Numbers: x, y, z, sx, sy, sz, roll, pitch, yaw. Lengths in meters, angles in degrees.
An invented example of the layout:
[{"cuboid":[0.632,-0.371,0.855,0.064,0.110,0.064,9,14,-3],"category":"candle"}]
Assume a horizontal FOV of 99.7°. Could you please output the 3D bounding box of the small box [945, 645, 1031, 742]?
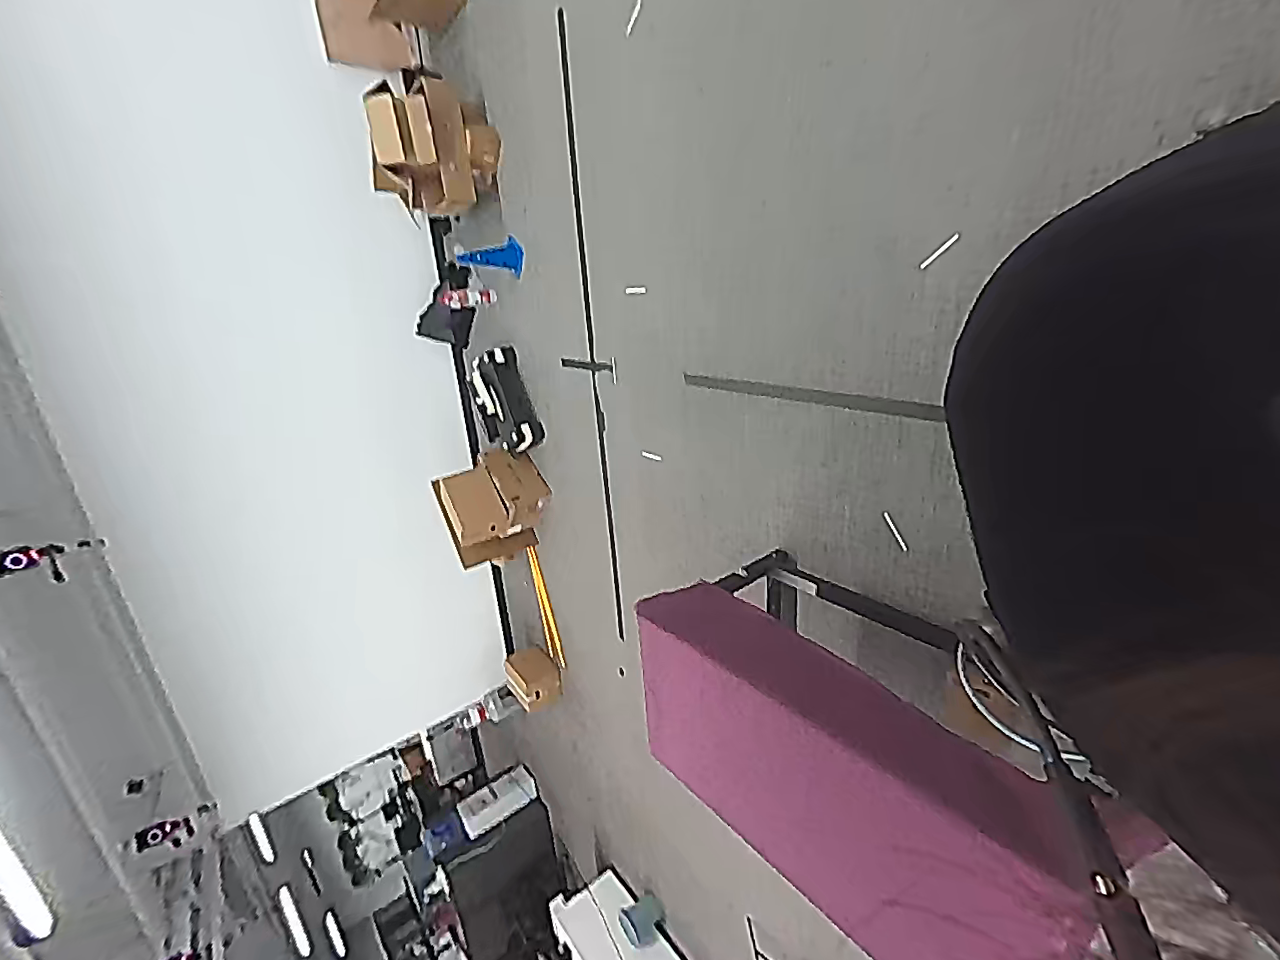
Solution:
[{"cuboid":[1.044,0.633,1.621,0.168,0.176,0.179,17,120,49],"category":"small box"}]
